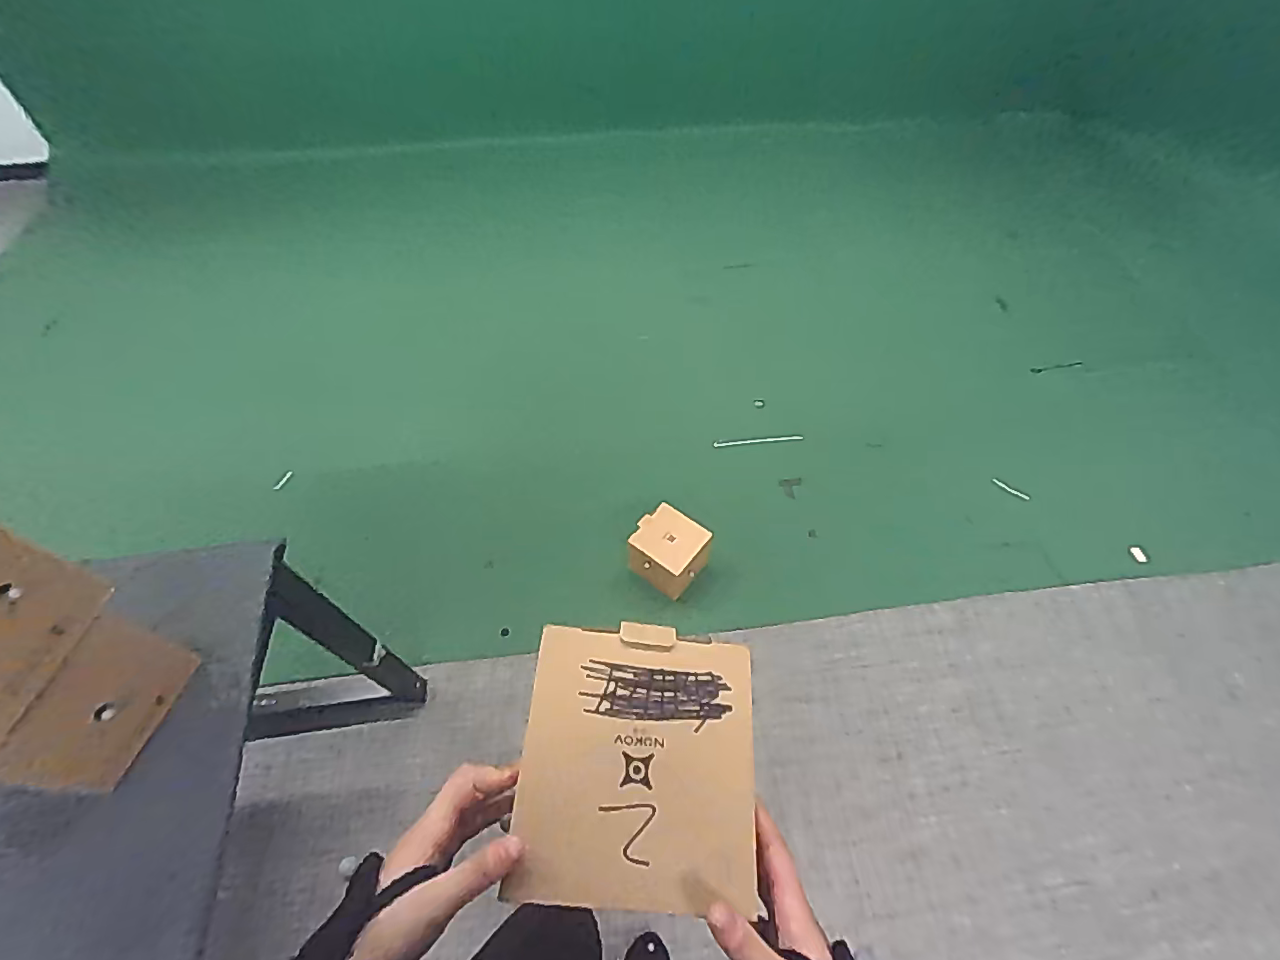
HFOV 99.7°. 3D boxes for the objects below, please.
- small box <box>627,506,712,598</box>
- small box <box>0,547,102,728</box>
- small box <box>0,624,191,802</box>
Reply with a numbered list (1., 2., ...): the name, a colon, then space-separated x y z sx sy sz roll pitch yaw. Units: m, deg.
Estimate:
1. small box: 0.083 0.213 1.540 0.179 0.176 0.168 32 61 22
2. small box: -0.679 0.141 0.495 0.179 0.176 0.168 4 53 7
3. small box: -0.683 0.252 0.615 0.179 0.176 0.168 9 54 10
